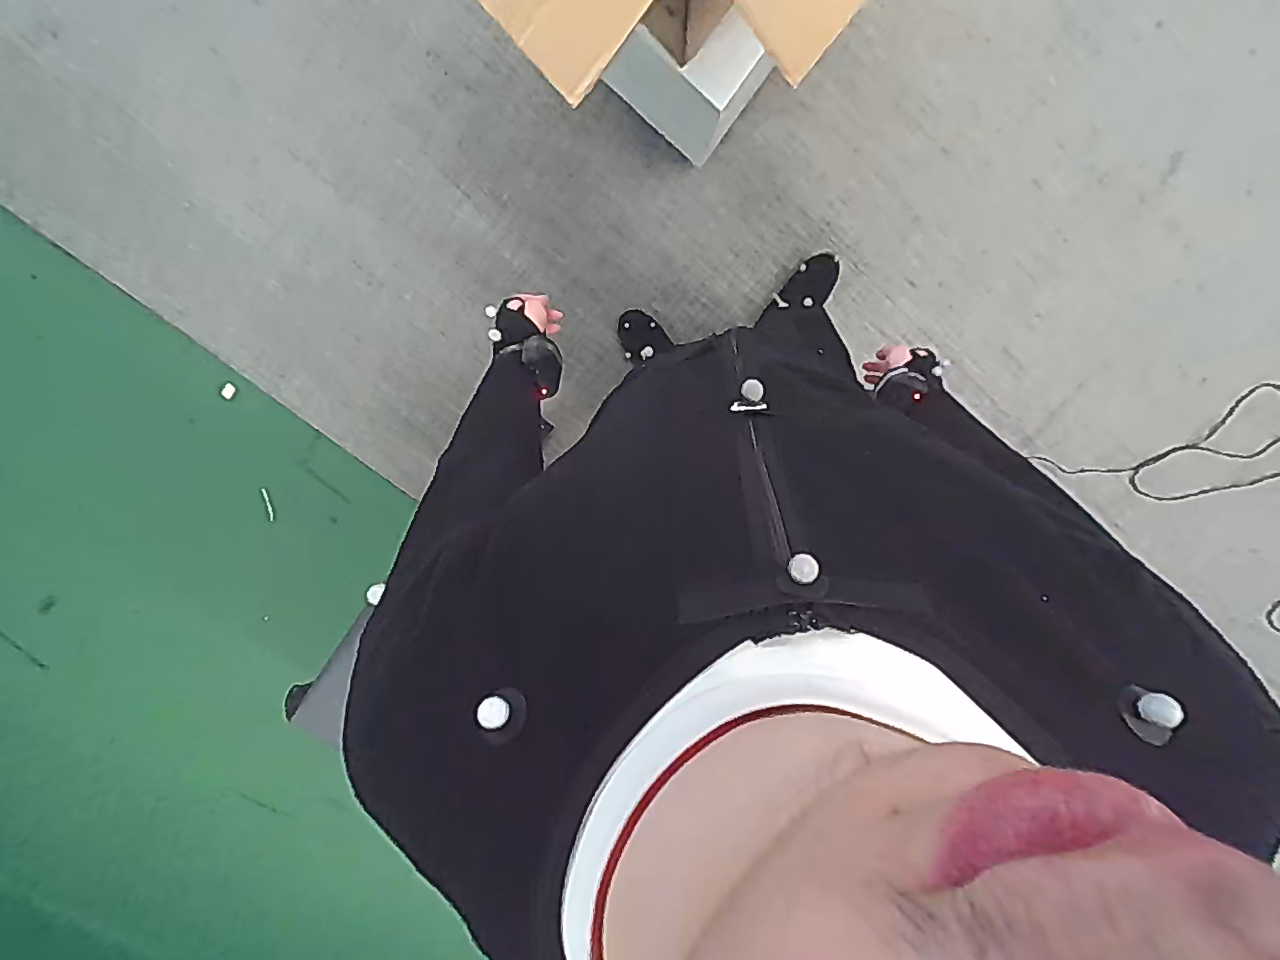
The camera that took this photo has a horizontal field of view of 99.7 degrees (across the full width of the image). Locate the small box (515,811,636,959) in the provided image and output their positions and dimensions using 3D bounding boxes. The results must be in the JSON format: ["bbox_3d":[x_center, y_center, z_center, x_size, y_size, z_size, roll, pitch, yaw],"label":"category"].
[{"bbox_3d":[-0.123,0.821,1.100,0.168,0.176,0.179,40,110,-12],"label":"small box"}]
